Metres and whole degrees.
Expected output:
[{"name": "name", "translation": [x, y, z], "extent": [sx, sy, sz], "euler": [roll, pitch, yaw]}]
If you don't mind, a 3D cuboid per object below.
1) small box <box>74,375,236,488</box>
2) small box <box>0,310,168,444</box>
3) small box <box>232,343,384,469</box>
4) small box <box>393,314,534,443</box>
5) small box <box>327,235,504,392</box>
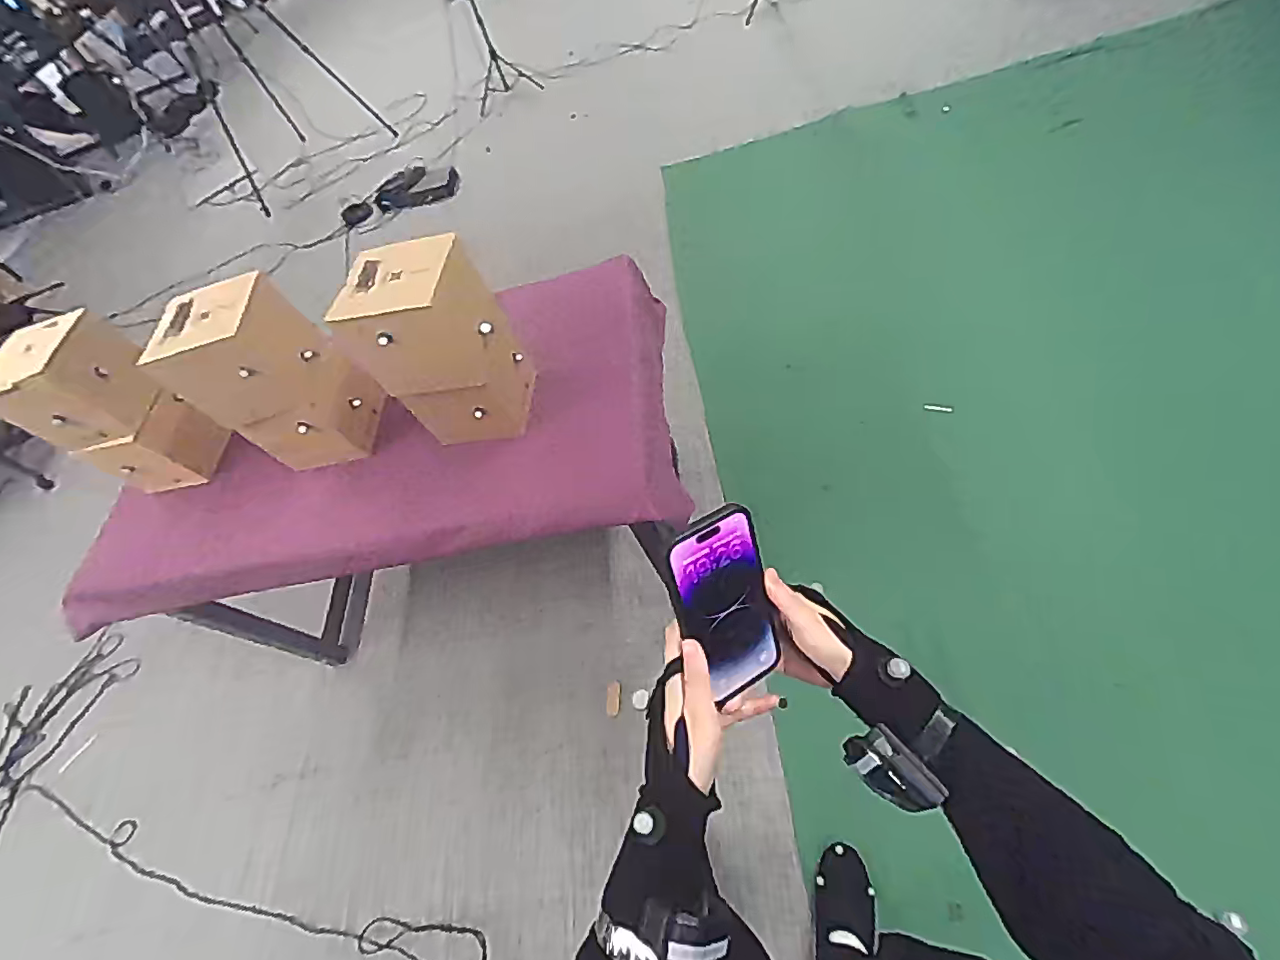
[{"name": "small box", "translation": [-1.026, -0.095, 1.164], "extent": [0.168, 0.176, 0.179], "euler": [-9, 57, 11]}, {"name": "small box", "translation": [-1.066, -0.186, 1.034], "extent": [0.168, 0.176, 0.179], "euler": [-13, 57, 7]}, {"name": "small box", "translation": [-0.647, -0.142, 1.081], "extent": [0.179, 0.176, 0.168], "euler": [-10, 57, 11]}, {"name": "small box", "translation": [-0.316, -0.184, 1.013], "extent": [0.179, 0.176, 0.168], "euler": [-4, 58, 14]}, {"name": "small box", "translation": [-0.347, -0.257, 0.869], "extent": [0.179, 0.176, 0.168], "euler": [-4, 58, 13]}]
